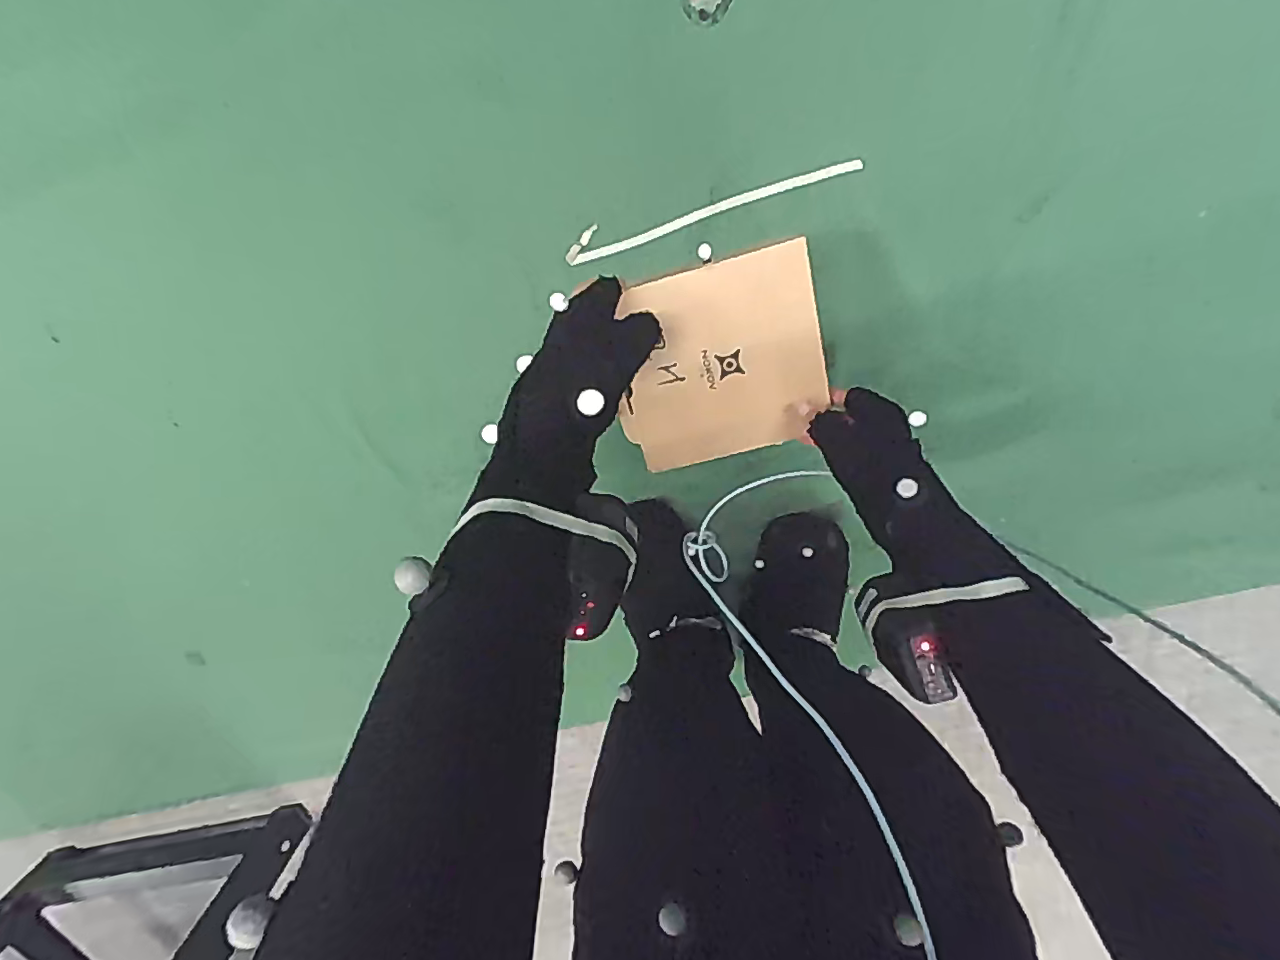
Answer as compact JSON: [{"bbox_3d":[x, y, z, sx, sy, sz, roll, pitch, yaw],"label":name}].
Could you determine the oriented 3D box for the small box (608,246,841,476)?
[{"bbox_3d":[0.080,-0.127,0.539,0.179,0.176,0.168,-14,112,10],"label":"small box"}]
